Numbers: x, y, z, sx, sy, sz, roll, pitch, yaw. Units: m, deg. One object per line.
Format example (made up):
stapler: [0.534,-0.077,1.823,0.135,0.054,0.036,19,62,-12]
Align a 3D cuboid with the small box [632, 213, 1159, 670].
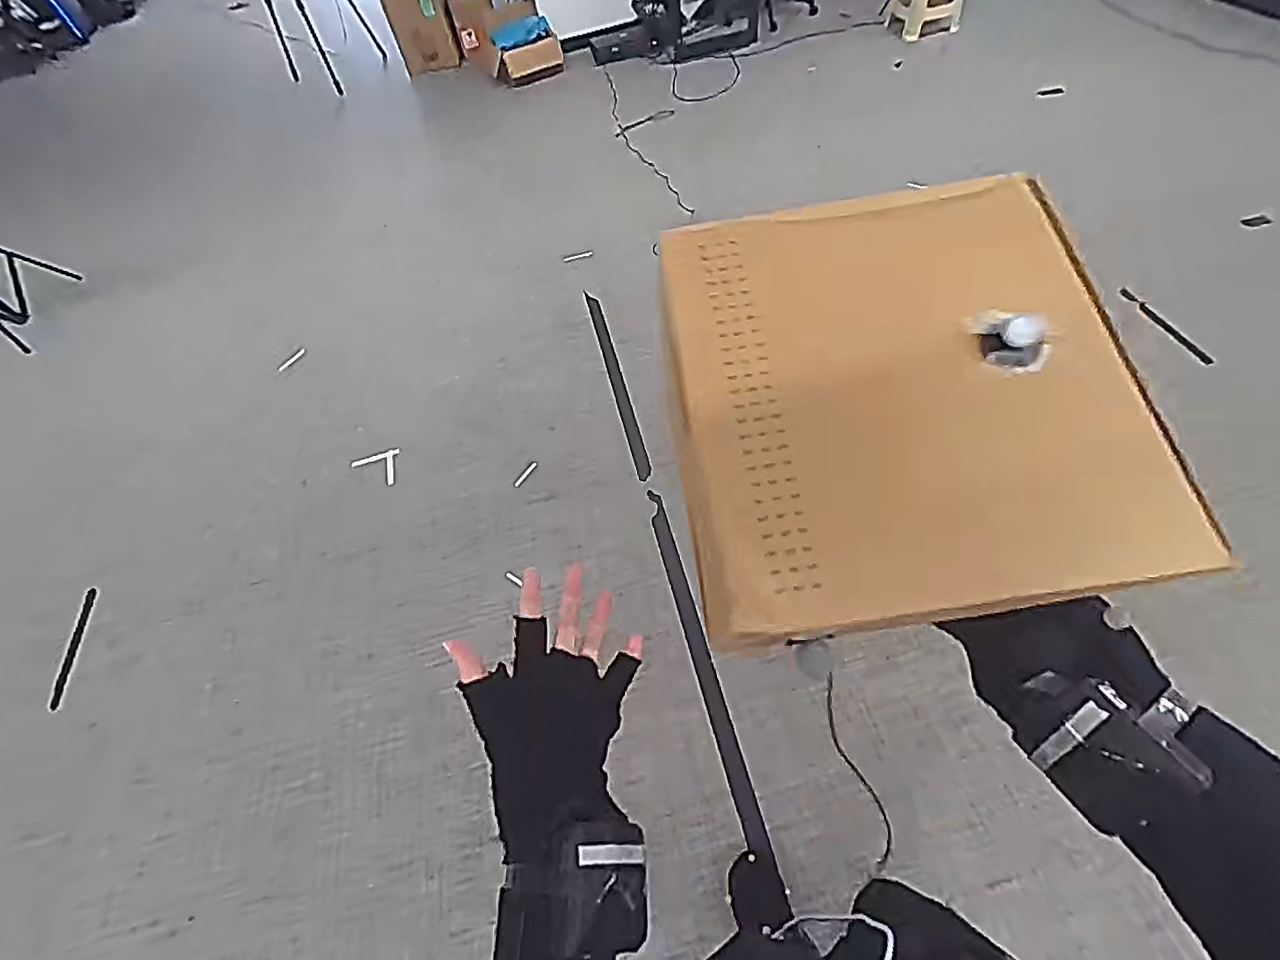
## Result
small box: [0.094,-0.004,0.293,0.176,0.168,0.179,-10,70,3]
